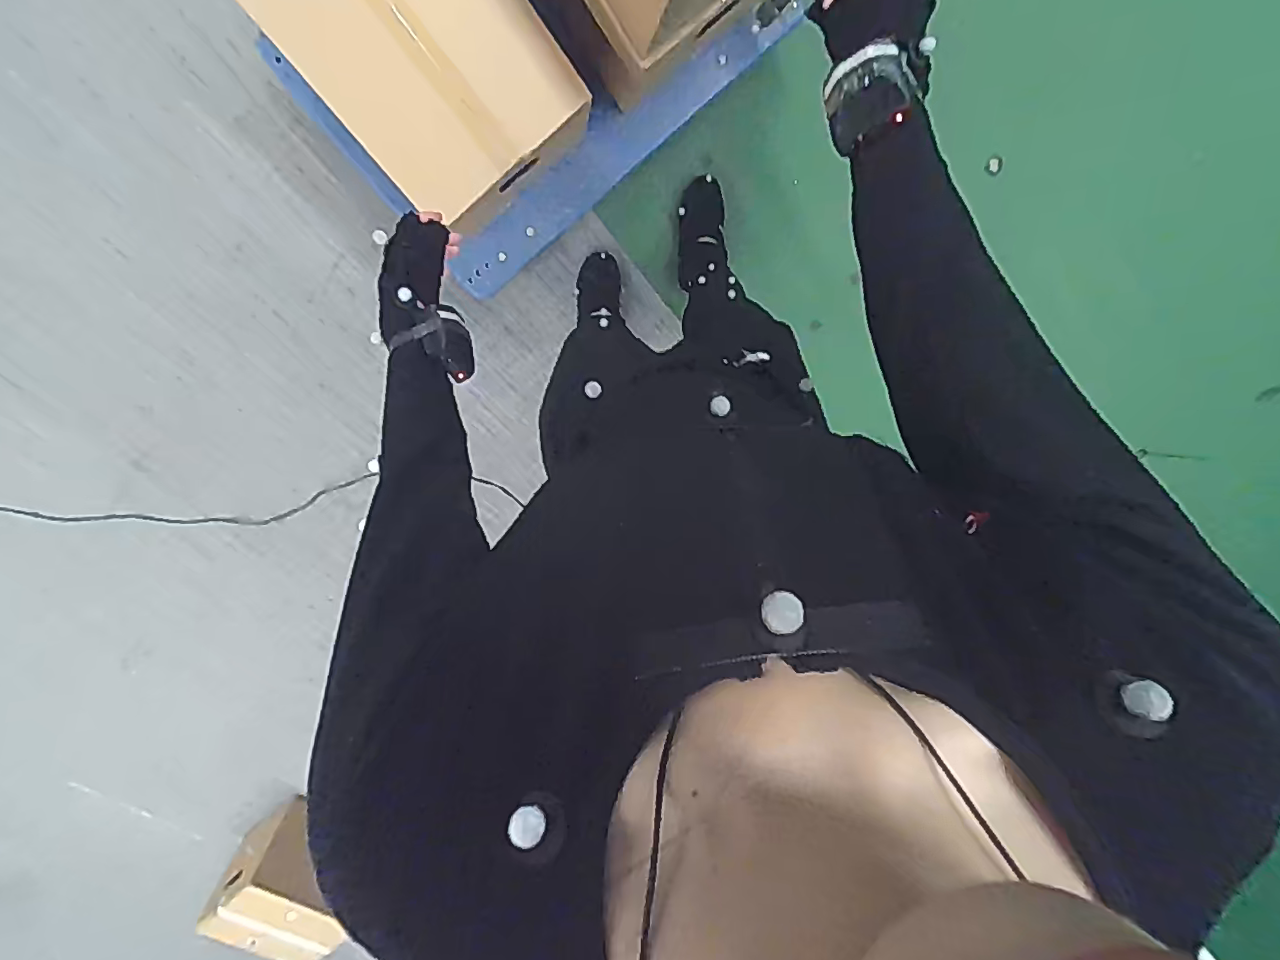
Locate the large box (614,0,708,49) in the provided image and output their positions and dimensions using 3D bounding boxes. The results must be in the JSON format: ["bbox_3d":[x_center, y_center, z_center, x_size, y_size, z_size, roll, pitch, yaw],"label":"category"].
[{"bbox_3d":[0.029,-0.774,0.535,0.320,0.320,0.408,-35,112,7],"label":"large box"}]
